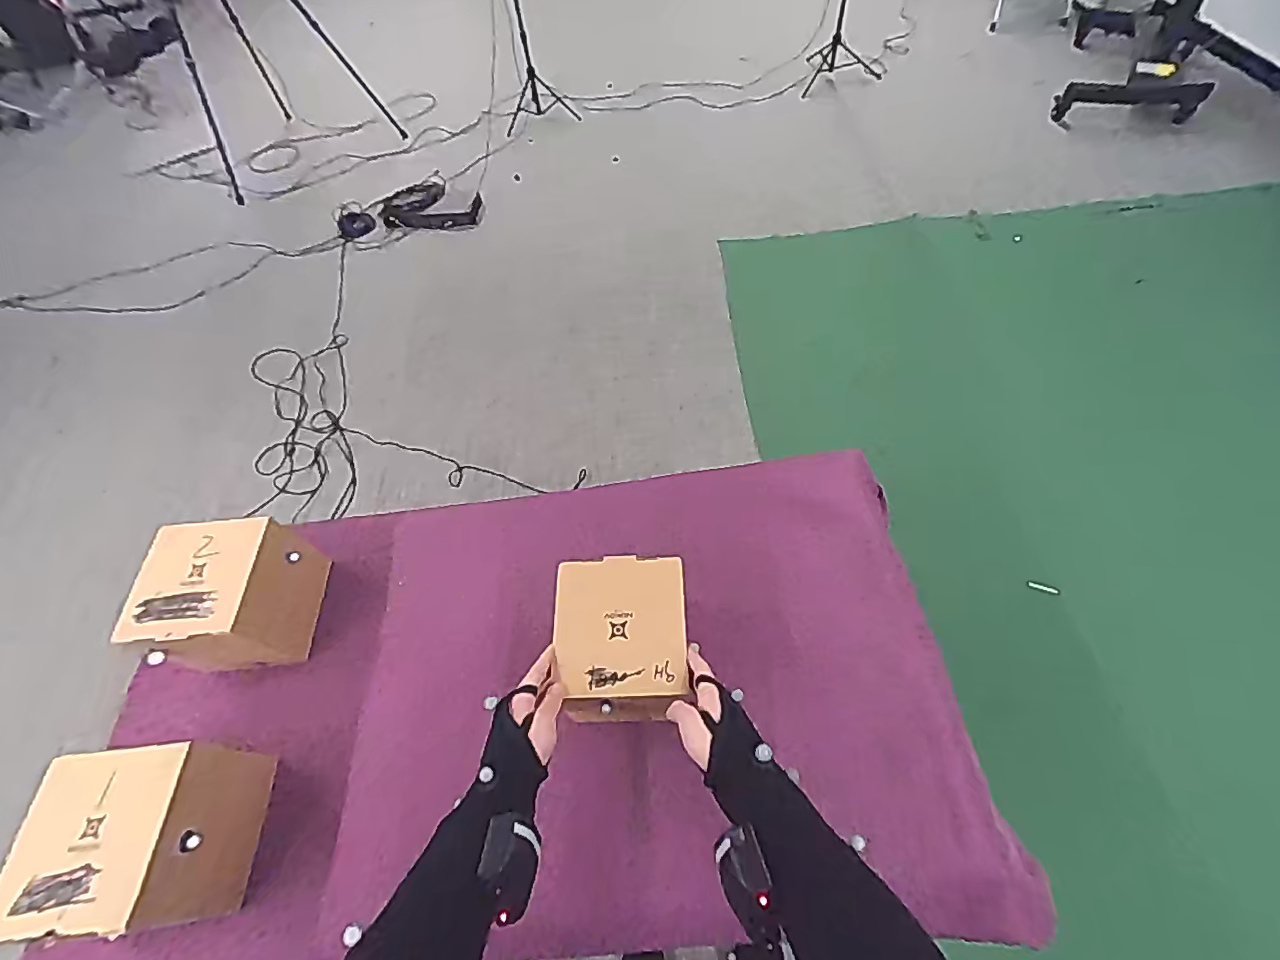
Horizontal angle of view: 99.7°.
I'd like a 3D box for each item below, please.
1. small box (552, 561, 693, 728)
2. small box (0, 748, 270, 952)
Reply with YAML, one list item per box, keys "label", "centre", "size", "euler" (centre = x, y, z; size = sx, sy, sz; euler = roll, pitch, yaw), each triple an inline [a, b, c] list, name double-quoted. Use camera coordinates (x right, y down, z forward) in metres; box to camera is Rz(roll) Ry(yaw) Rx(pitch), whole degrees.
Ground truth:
- label: "small box"
  centre: [-0.015, 0.226, 0.734]
  size: [0.168, 0.176, 0.179]
  euler: [-3, 56, 4]
- label: "small box"
  centre: [-0.590, 0.433, 0.647]
  size: [0.168, 0.176, 0.179]
  euler: [-6, 56, 1]
